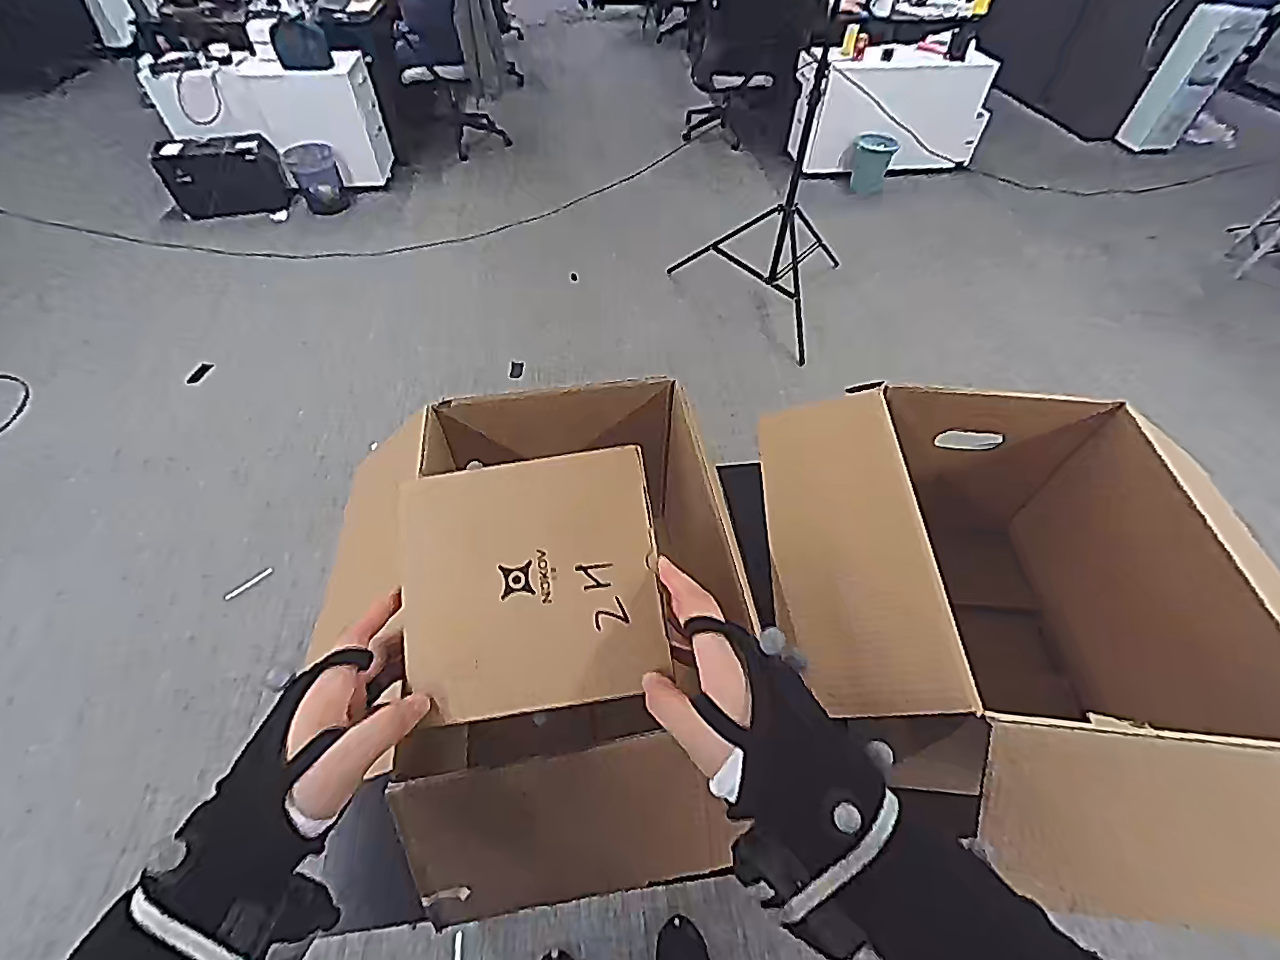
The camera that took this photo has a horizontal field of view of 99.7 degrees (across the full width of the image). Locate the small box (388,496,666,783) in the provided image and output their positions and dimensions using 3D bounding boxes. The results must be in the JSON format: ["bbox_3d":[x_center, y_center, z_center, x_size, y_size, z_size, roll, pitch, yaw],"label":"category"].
[{"bbox_3d":[-0.074,0.118,0.430,0.179,0.176,0.168,-8,77,0],"label":"small box"}]
